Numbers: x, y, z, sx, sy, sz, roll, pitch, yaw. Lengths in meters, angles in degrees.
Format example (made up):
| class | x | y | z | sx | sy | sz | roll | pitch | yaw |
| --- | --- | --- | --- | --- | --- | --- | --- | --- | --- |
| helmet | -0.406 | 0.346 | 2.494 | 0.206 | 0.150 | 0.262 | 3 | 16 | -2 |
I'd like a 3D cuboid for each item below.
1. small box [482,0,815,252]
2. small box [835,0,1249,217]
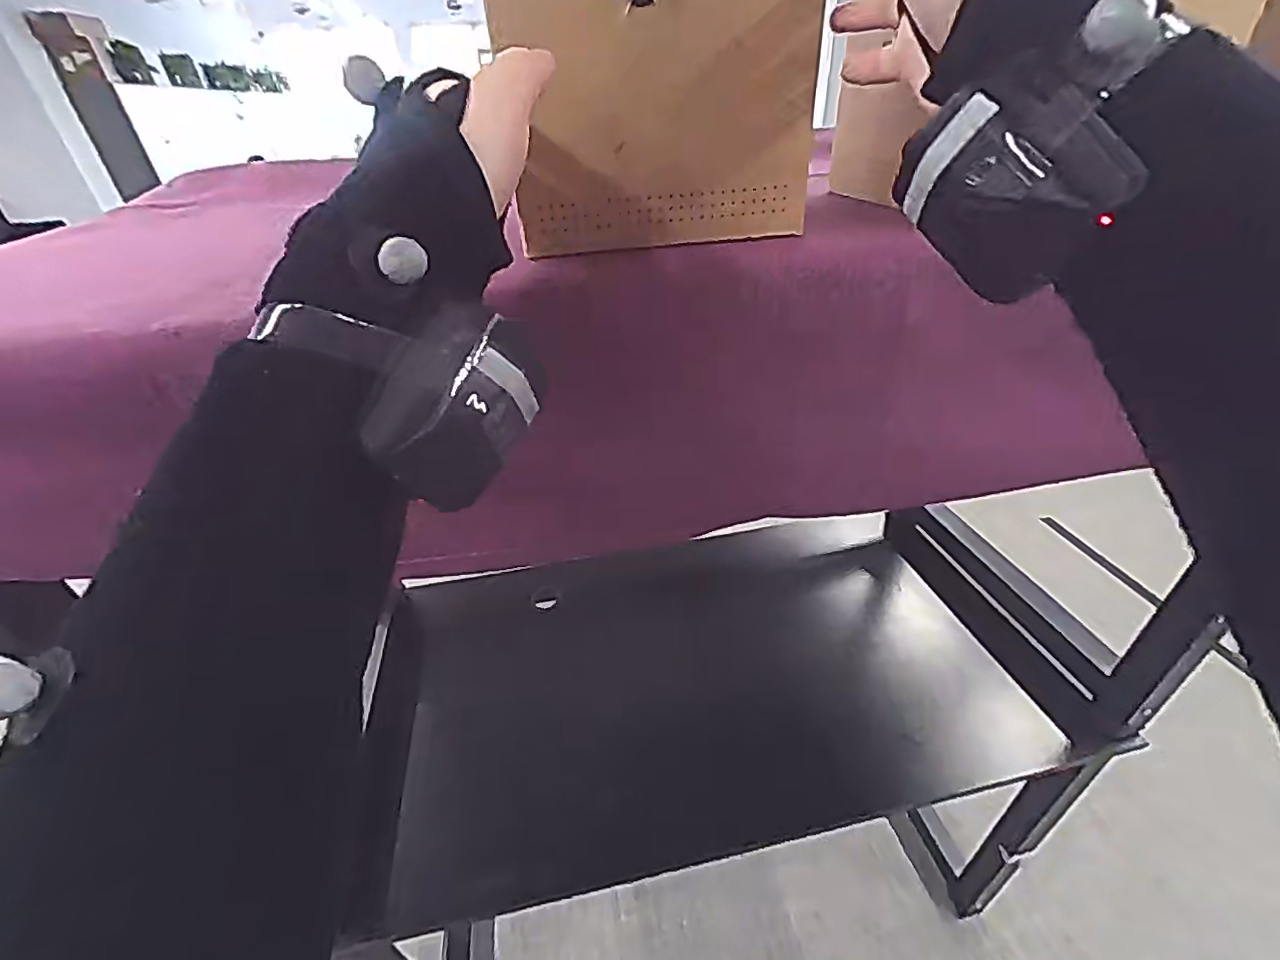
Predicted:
| class | x | y | z | sx | sy | sz | roll | pitch | yaw |
| --- | --- | --- | --- | --- | --- | --- | --- | --- | --- |
| small box | 0.001 | -0.252 | 0.345 | 0.179 | 0.176 | 0.168 | -7 | 35 | -5 |
| small box | 0.256 | -0.284 | 0.370 | 0.168 | 0.176 | 0.179 | -9 | 34 | -8 |
